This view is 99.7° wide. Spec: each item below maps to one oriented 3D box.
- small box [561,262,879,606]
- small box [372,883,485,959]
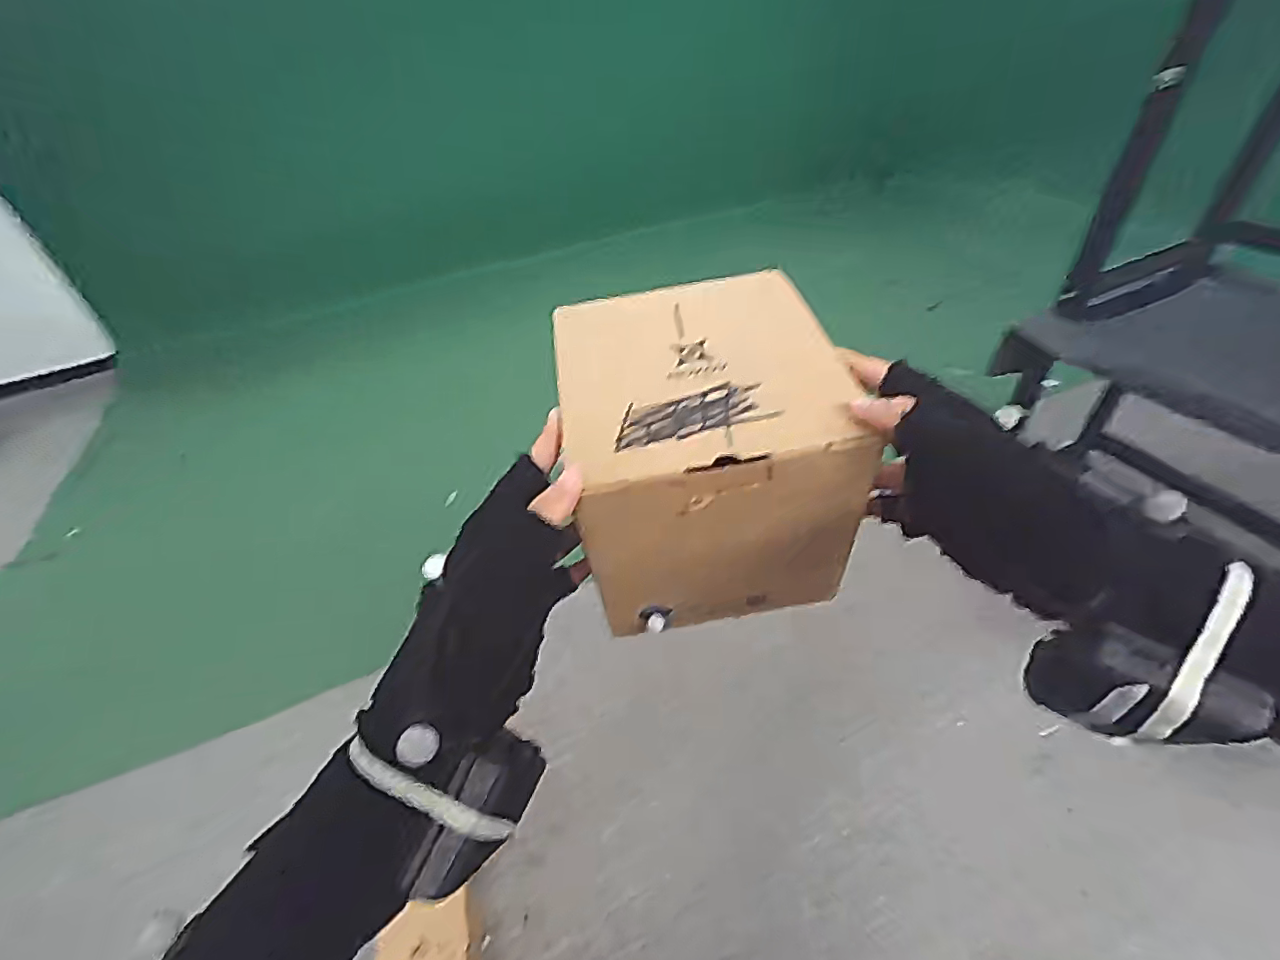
[{"bbox_3d":[0.043,-0.025,0.389,0.168,0.176,0.179,-9,48,-1],"label":"small box"},{"bbox_3d":[-0.425,0.963,1.098,0.179,0.176,0.168,-13,43,-9],"label":"small box"}]
